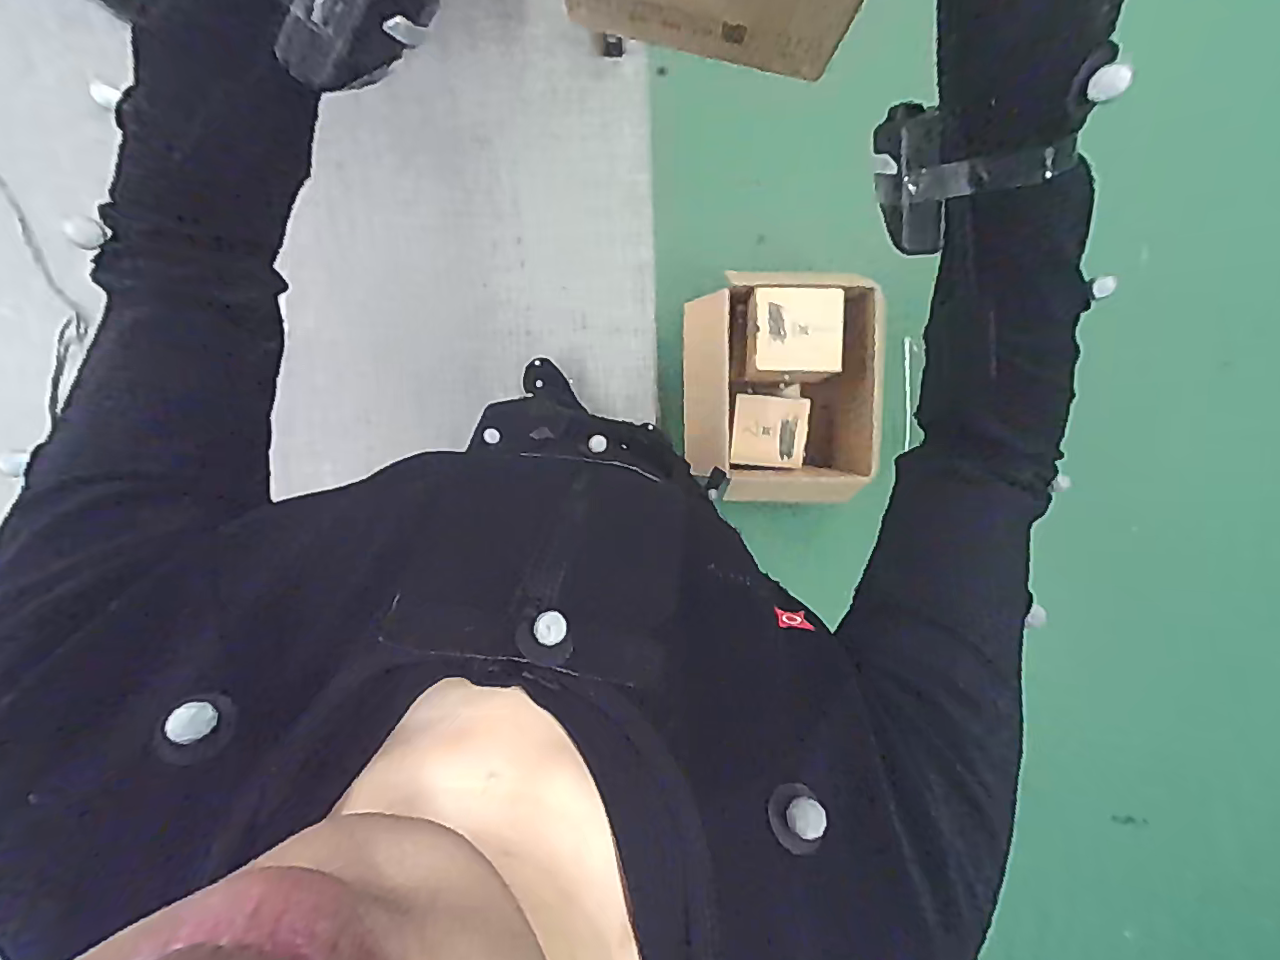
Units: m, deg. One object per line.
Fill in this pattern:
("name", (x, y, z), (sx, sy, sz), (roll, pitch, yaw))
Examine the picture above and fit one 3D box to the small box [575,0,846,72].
("small box", (0.045, -0.341, 0.252), (0.168, 0.176, 0.179), (10, 96, -1))
